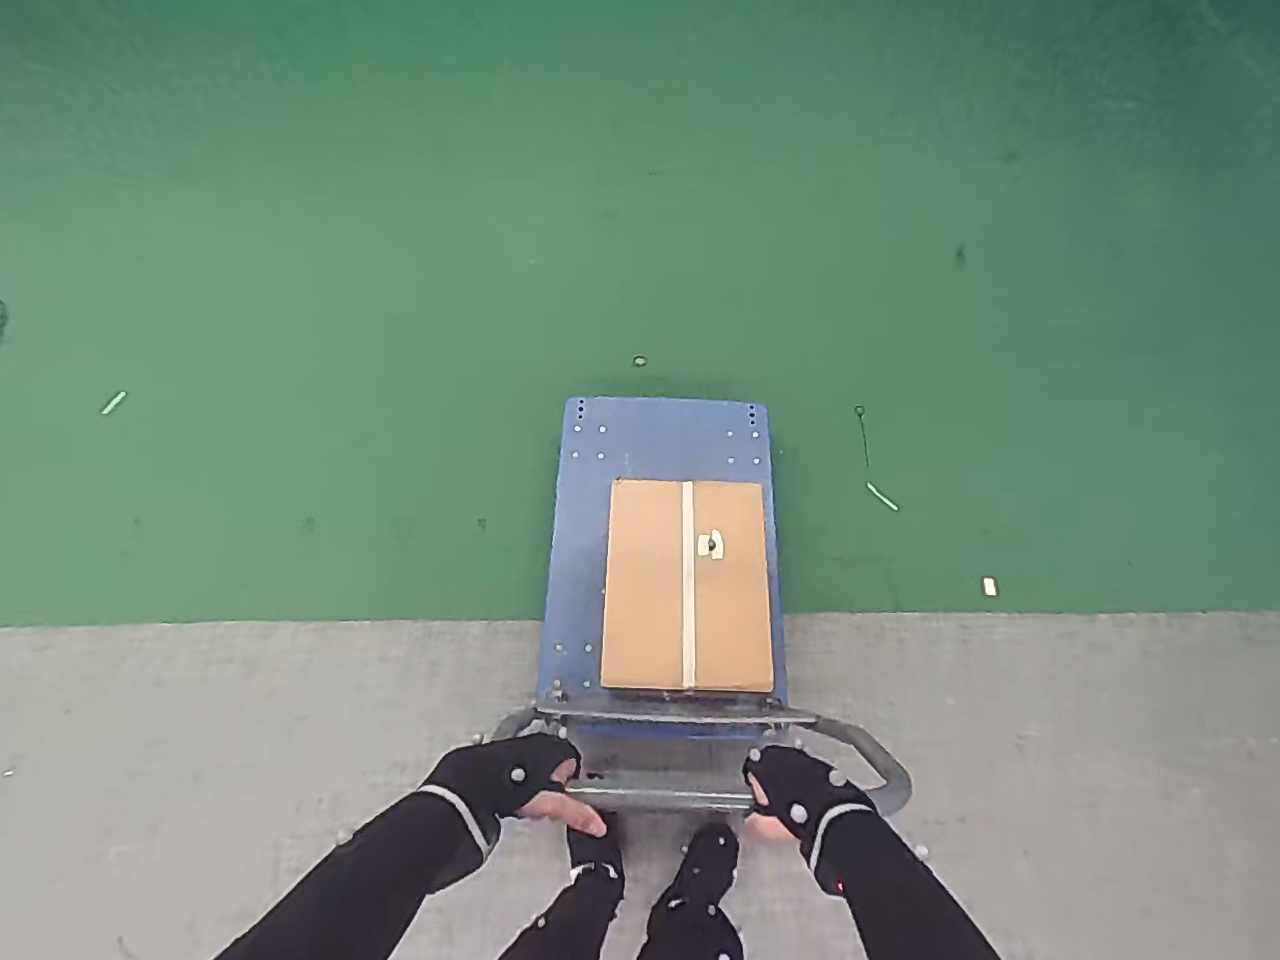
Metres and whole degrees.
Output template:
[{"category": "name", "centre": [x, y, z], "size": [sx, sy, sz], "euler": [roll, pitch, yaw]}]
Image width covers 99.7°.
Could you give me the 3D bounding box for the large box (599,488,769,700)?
[{"category": "large box", "centre": [0.080, 0.262, 1.184], "size": [0.320, 0.320, 0.408], "euler": [2, 66, -1]}]
